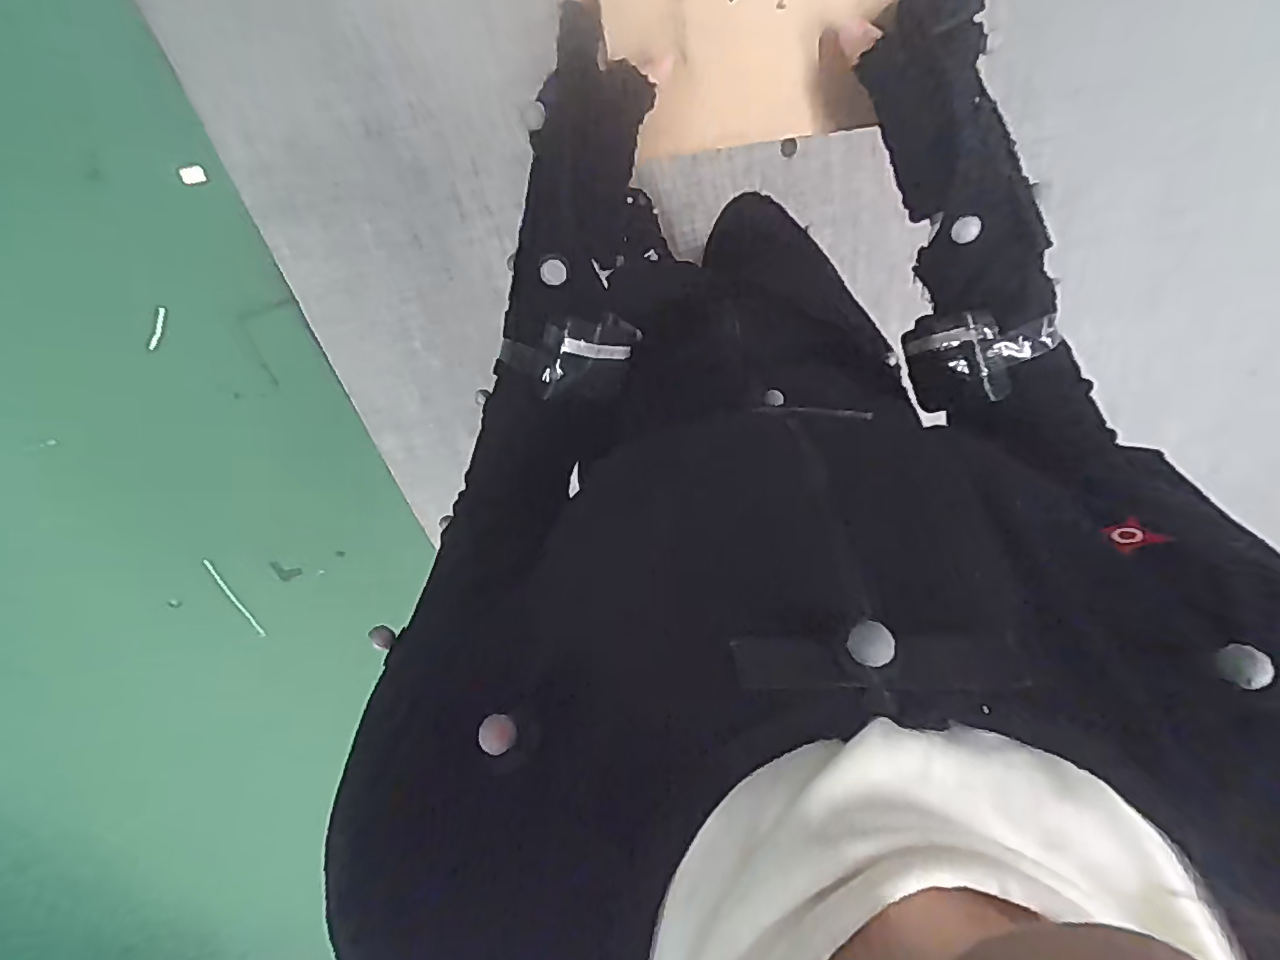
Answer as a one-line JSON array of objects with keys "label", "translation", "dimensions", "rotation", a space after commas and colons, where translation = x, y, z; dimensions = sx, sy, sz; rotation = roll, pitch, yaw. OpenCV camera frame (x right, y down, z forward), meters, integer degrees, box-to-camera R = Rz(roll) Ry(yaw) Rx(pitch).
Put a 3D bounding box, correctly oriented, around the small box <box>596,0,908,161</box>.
[{"label": "small box", "translation": [0.060, -0.327, 0.368], "dimensions": [0.179, 0.176, 0.168], "rotation": [-9, 122, 2]}]
